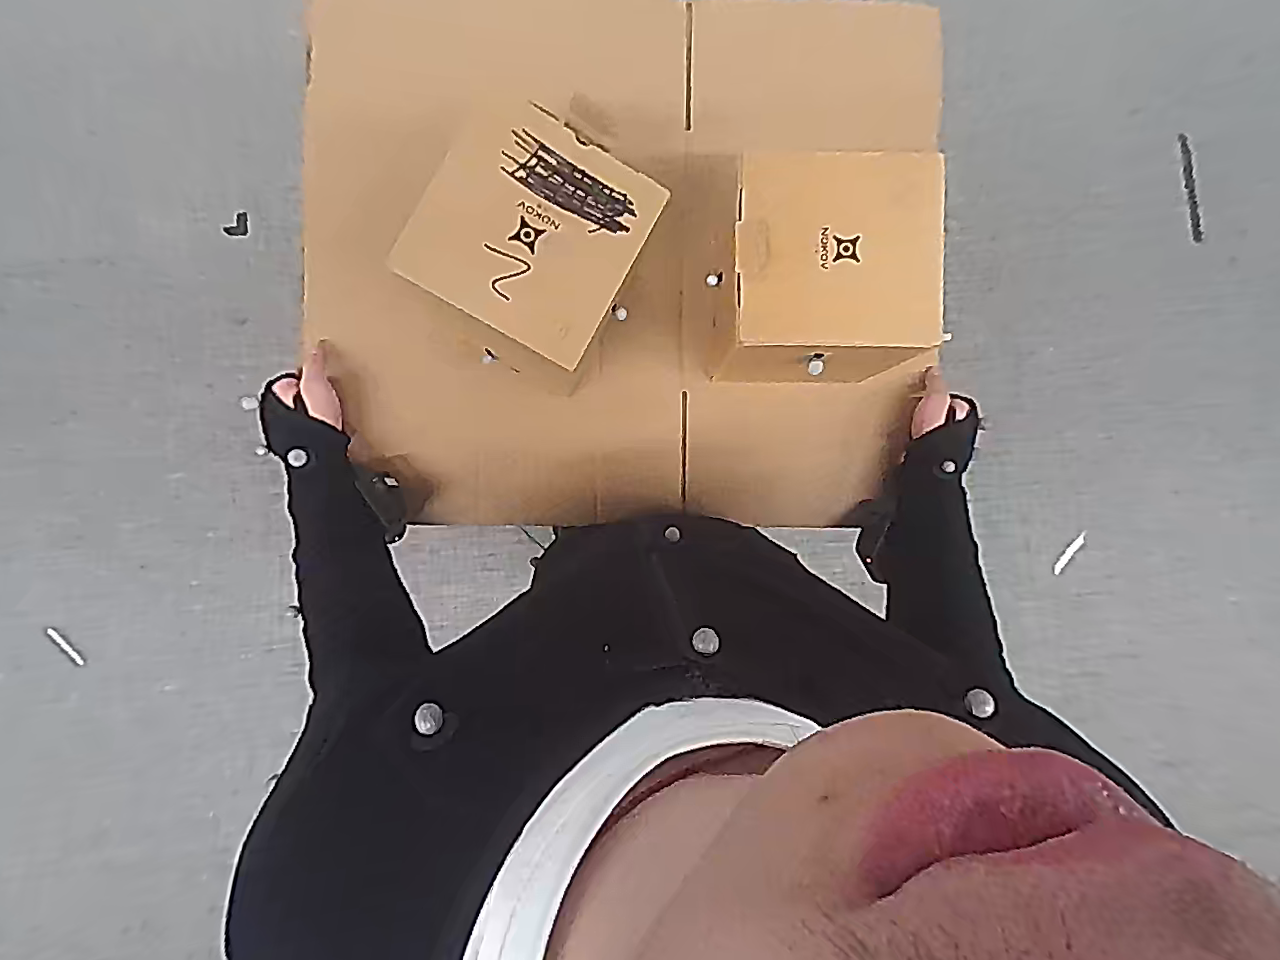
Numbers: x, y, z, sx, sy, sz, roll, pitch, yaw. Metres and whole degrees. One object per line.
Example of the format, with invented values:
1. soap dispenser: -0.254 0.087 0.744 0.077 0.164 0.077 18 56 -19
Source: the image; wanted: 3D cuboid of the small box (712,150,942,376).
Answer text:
1. small box: 0.175 -0.204 0.552 0.179 0.176 0.168 1 90 0
